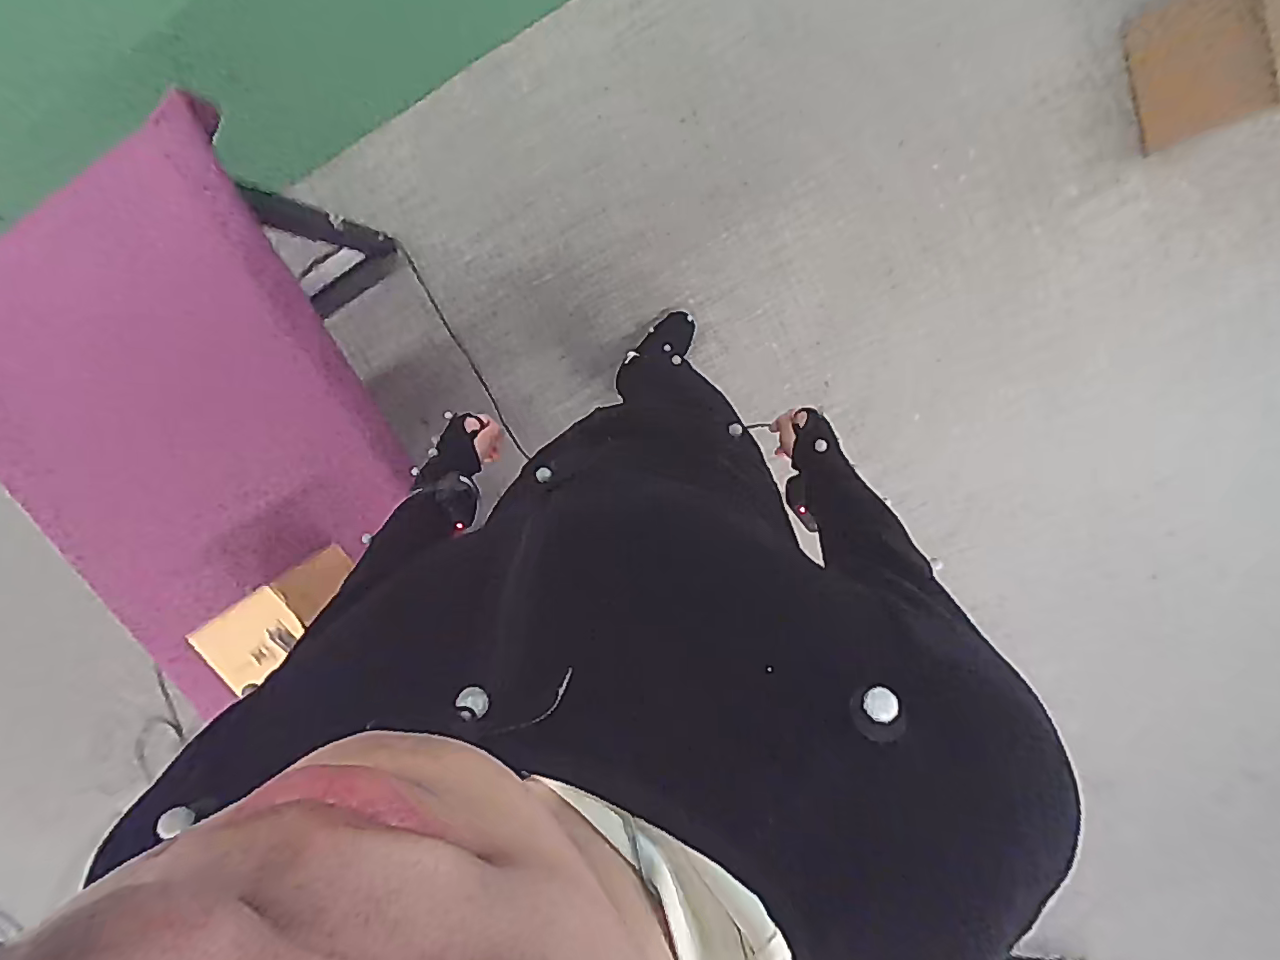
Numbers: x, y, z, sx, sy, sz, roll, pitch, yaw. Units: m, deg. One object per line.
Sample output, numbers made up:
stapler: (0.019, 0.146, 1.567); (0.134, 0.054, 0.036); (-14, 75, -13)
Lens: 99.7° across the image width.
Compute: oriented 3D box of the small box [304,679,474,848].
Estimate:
small box: (-0.420, 0.474, 0.935); (0.168, 0.176, 0.179); (-27, 101, 9)

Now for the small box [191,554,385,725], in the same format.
small box: (-0.549, 0.248, 0.879); (0.179, 0.176, 0.168); (-31, 102, 10)
